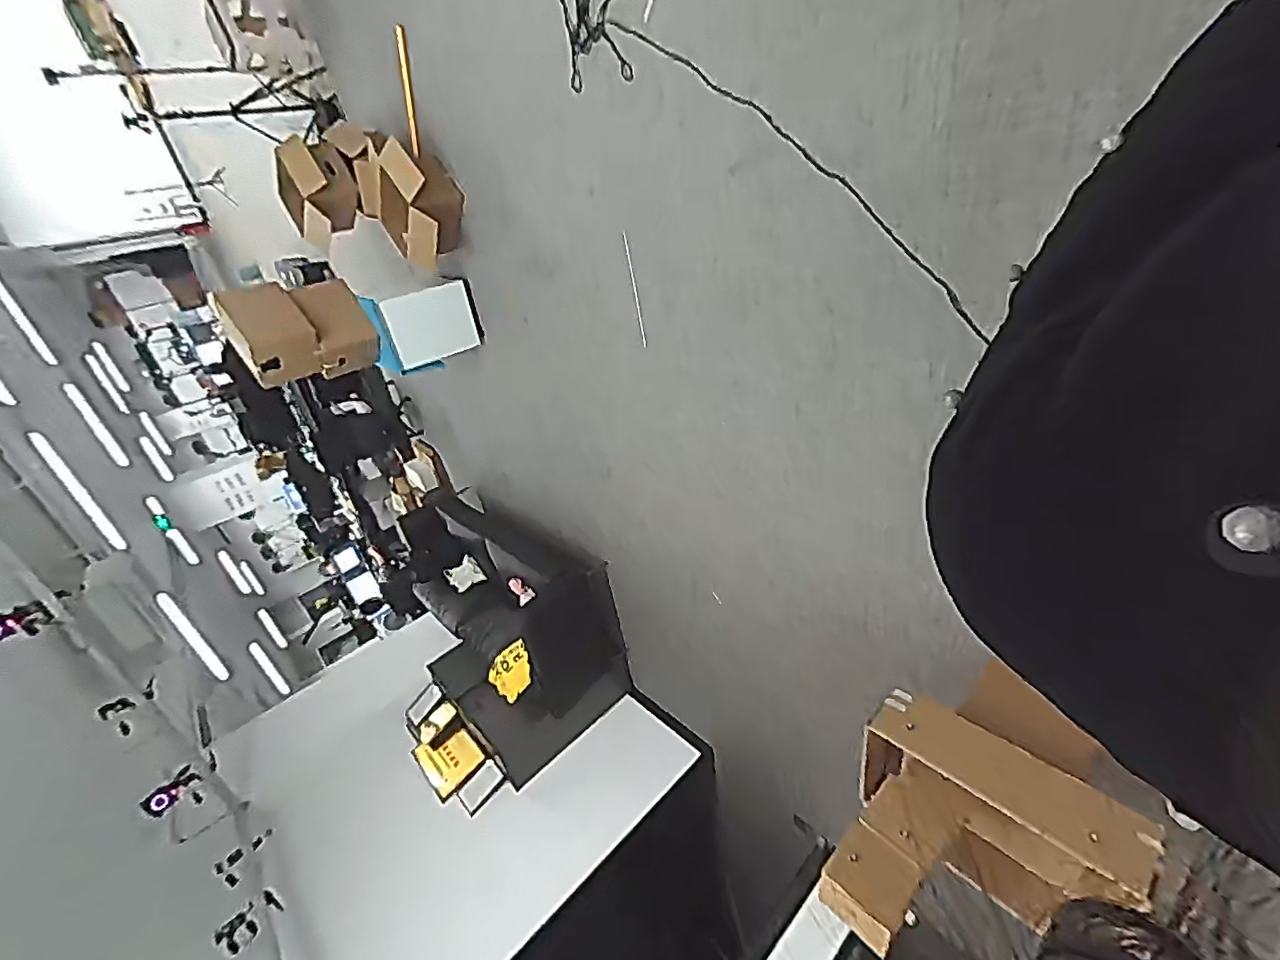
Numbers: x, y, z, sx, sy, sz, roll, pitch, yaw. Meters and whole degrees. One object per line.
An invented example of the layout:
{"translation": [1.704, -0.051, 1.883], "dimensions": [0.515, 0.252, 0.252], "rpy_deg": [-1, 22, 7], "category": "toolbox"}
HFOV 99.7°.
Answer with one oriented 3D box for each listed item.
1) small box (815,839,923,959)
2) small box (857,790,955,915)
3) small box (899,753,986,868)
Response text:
{"translation": [0.557, 1.026, 1.323], "dimensions": [0.179, 0.176, 0.168], "rpy_deg": [26, 135, 43], "category": "small box"}
{"translation": [0.681, 0.954, 1.400], "dimensions": [0.179, 0.176, 0.168], "rpy_deg": [27, 135, 43], "category": "small box"}
{"translation": [0.813, 0.894, 1.477], "dimensions": [0.168, 0.176, 0.179], "rpy_deg": [28, 135, 42], "category": "small box"}
